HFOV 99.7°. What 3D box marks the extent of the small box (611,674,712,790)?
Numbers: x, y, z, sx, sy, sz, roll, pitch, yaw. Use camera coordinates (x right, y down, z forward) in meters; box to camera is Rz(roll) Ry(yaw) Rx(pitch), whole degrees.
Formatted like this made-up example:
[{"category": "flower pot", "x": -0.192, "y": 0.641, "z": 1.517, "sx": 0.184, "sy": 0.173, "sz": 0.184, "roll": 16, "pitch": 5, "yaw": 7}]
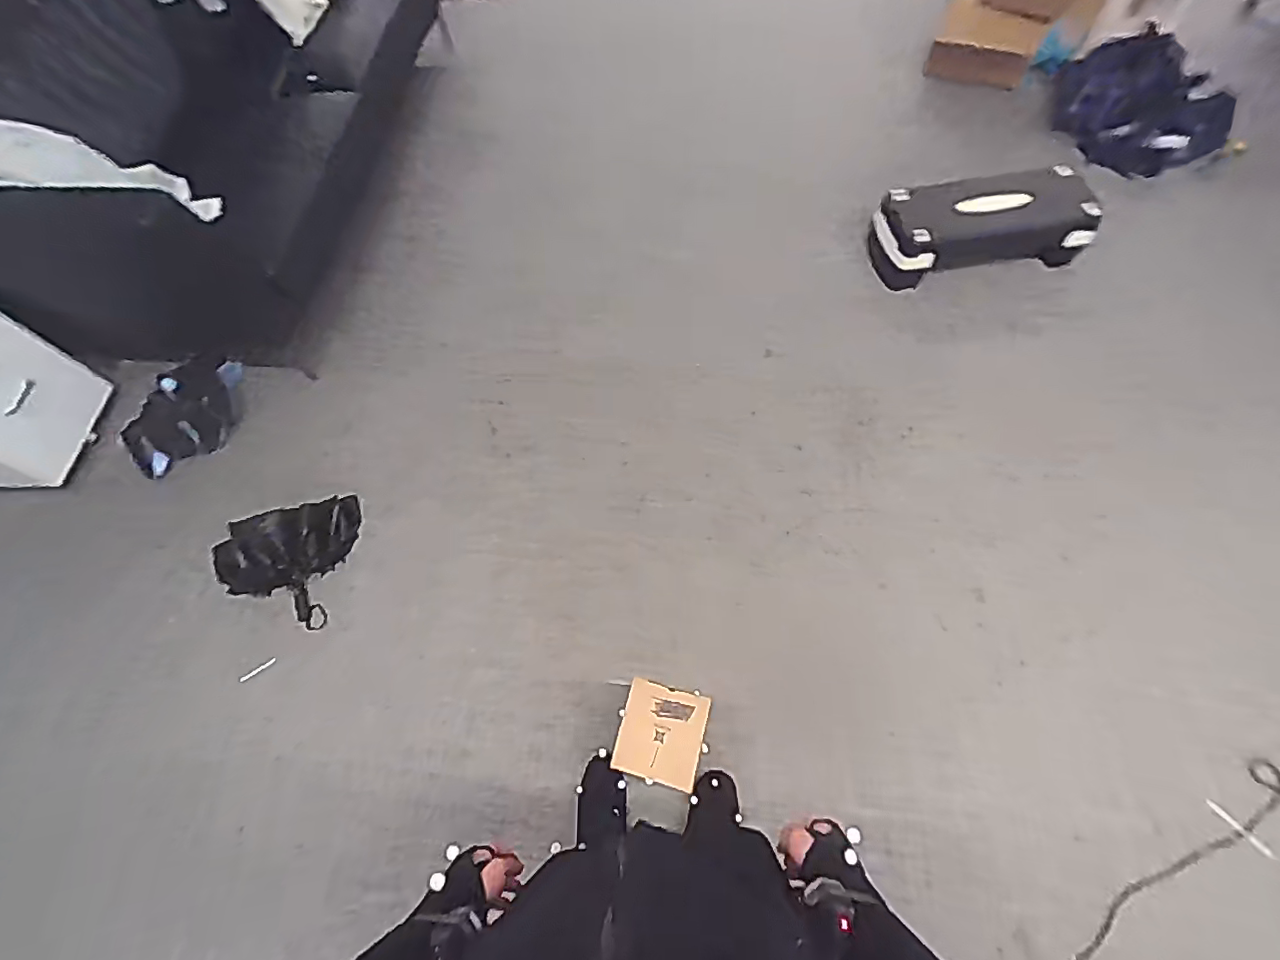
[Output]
[{"category": "small box", "x": 0.051, "y": 0.527, "z": 1.144, "sx": 0.168, "sy": 0.176, "sz": 0.179, "roll": 13, "pitch": 68, "yaw": 12}]
